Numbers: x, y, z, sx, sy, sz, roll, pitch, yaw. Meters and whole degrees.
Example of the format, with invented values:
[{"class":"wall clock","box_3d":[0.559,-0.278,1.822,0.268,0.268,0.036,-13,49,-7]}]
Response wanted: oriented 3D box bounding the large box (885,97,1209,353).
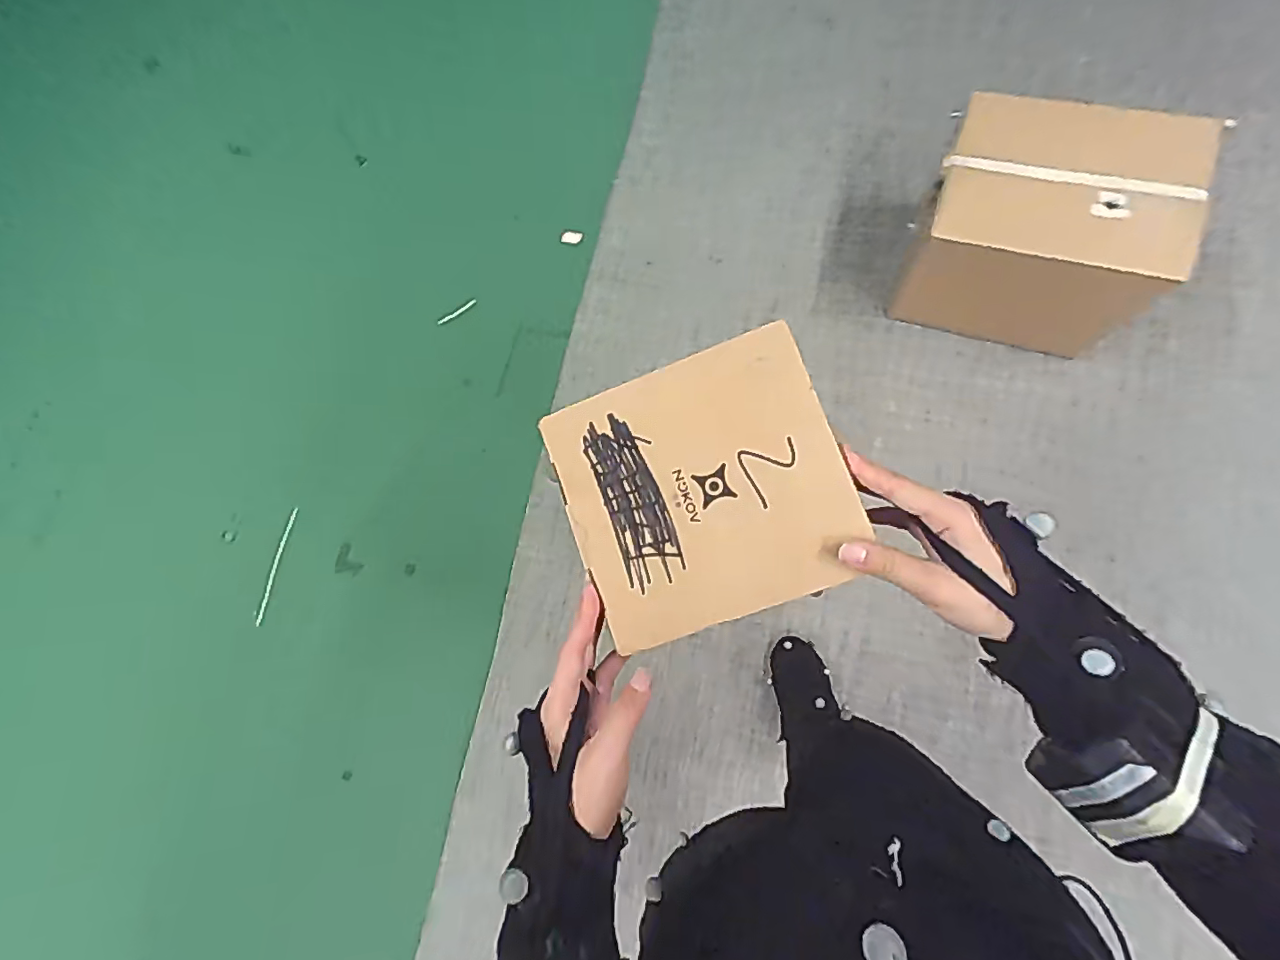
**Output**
[{"class":"large box","box_3d":[0.770,-0.495,1.092,0.408,0.320,0.320,17,83,13]}]
